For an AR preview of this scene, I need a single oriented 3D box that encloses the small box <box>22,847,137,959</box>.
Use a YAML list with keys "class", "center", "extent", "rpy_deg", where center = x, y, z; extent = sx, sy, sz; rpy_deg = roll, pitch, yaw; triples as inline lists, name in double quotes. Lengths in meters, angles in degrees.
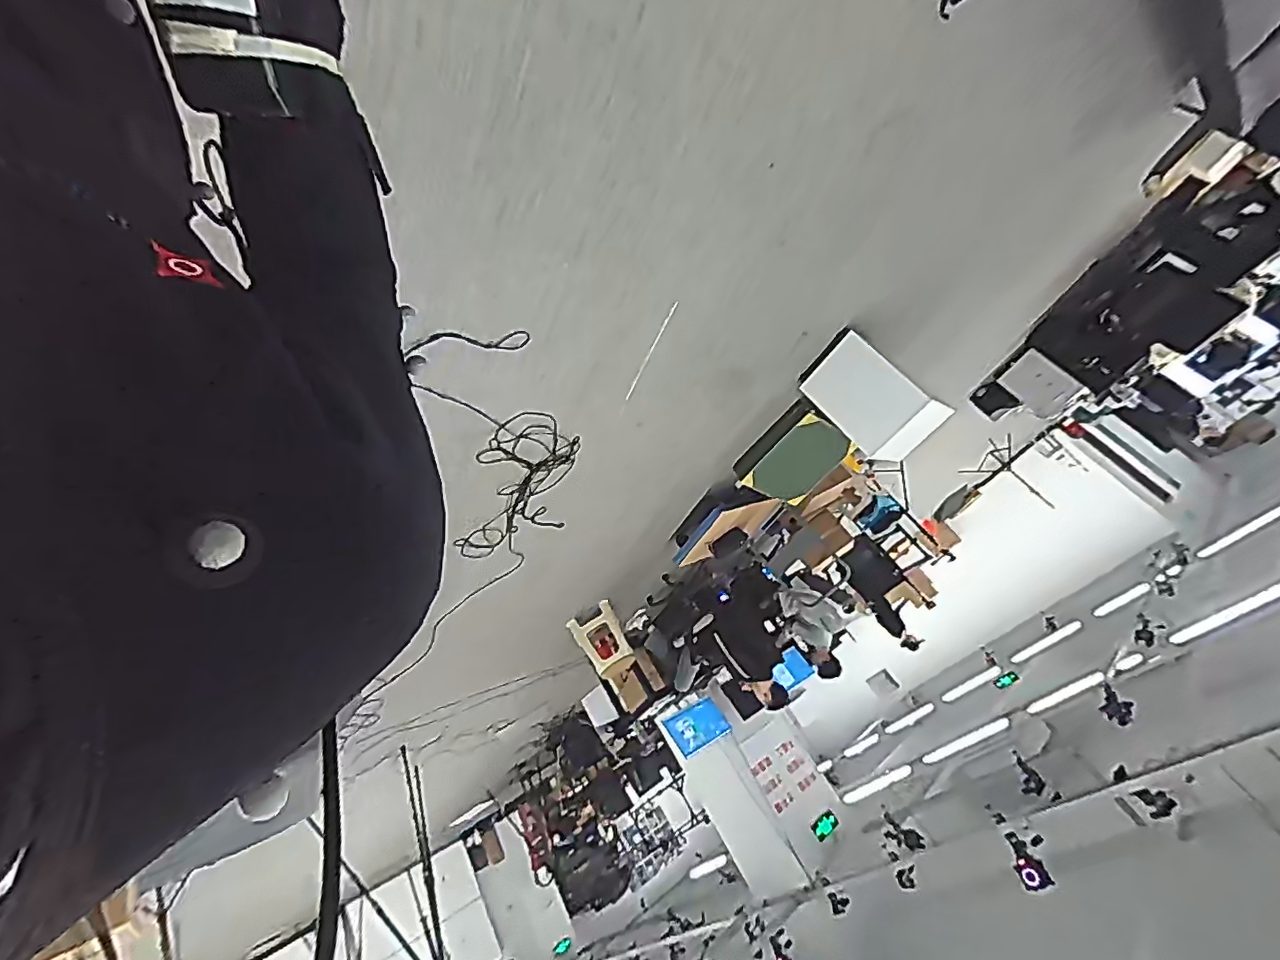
- class: "small box"
  center: [-1.299, 0.998, 1.262]
  extent: [0.168, 0.176, 0.179]
  rpy_deg: [-10, 143, -41]
